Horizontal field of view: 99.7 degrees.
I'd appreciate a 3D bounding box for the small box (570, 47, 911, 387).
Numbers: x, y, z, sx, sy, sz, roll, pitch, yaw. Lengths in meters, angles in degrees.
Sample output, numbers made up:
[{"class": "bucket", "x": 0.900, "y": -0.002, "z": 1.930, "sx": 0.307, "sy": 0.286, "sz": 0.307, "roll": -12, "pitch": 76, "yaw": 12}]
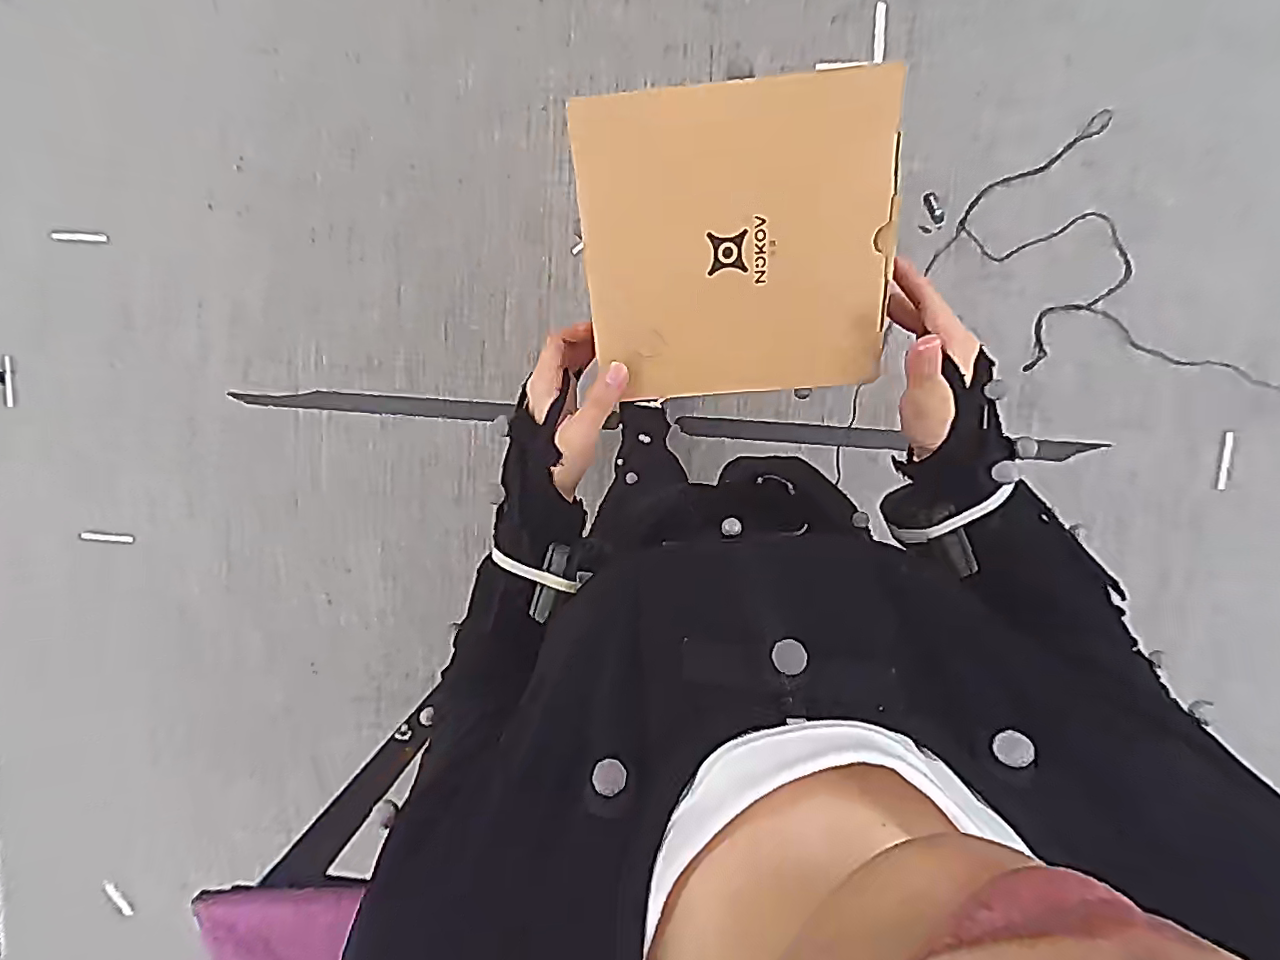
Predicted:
[{"class": "small box", "x": 0.059, "y": -0.168, "z": 0.379, "sx": 0.179, "sy": 0.176, "sz": 0.168, "roll": -4, "pitch": 114, "yaw": 4}]
